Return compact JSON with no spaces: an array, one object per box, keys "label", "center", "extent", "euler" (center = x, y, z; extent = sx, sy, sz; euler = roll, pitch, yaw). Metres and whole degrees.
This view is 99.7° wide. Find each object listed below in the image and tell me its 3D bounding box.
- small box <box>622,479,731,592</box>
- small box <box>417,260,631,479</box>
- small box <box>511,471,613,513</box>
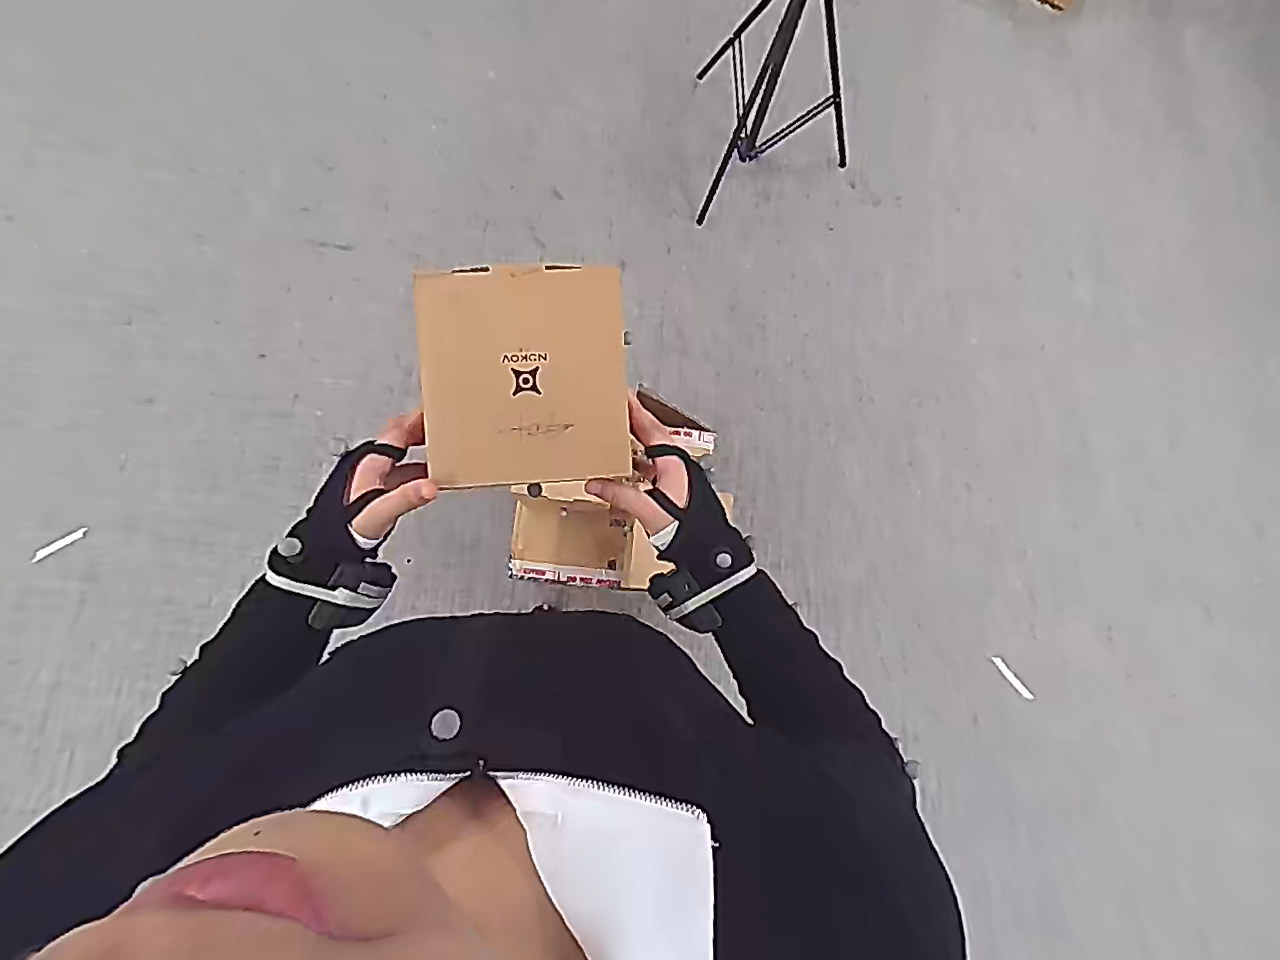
[{"label":"small box","center":[0.060,0.107,0.981],"extent":[0.168,0.176,0.179],"euler":[7,79,-5]},{"label":"small box","center":[-0.101,-0.093,0.519],"extent":[0.168,0.176,0.179],"euler":[-4,93,-5]},{"label":"small box","center":[-0.130,-0.045,0.993],"extent":[0.168,0.176,0.179],"euler":[6,79,-2]}]
